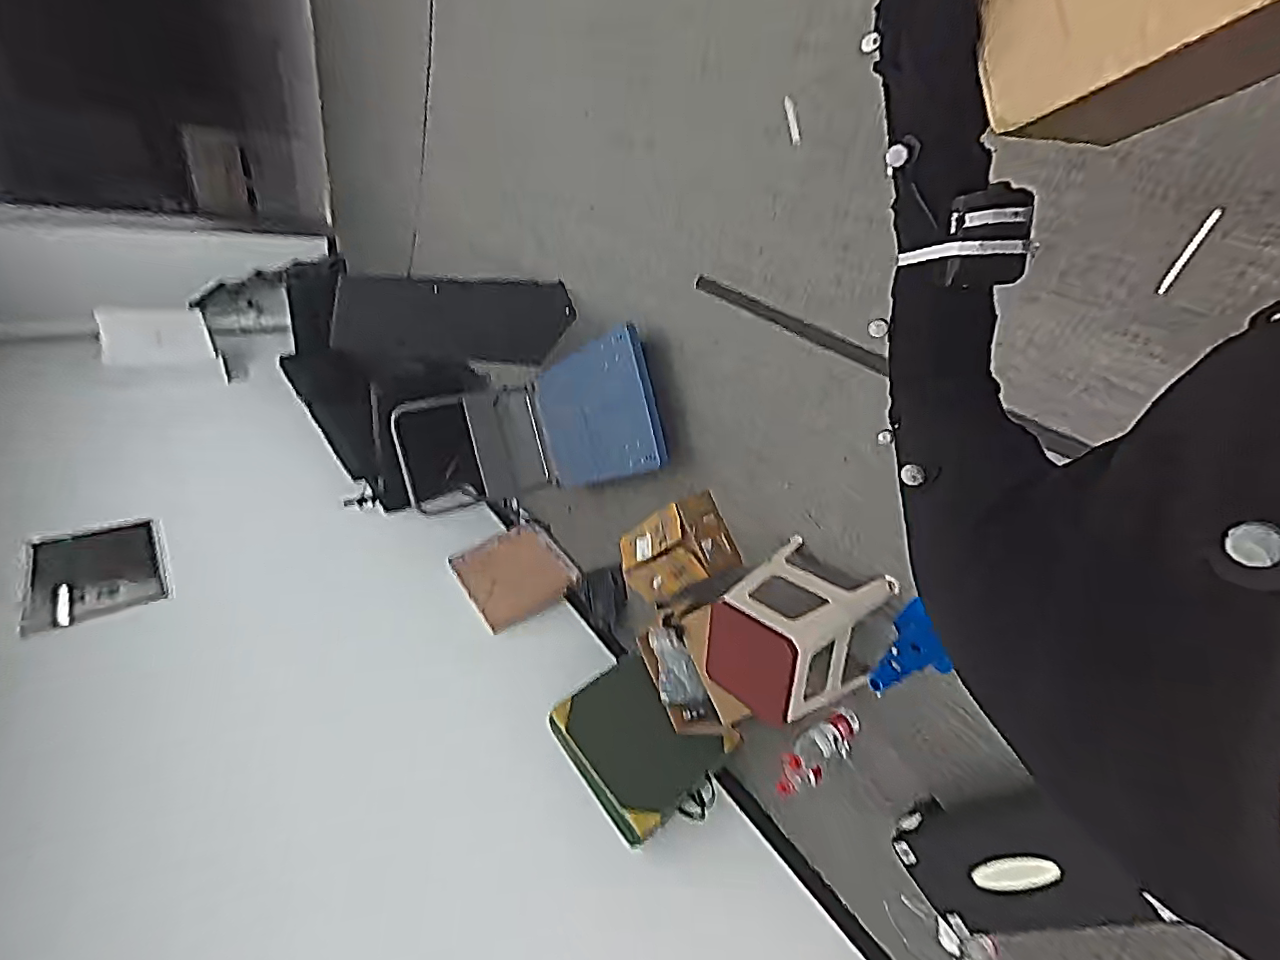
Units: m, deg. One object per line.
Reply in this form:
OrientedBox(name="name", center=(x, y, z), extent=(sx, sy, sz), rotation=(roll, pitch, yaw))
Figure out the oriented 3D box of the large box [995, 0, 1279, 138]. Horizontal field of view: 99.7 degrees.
OrientedBox(name="large box", center=(0.438, -0.446, 0.274), extent=(0.408, 0.320, 0.320), rotation=(-5, 106, 52))
